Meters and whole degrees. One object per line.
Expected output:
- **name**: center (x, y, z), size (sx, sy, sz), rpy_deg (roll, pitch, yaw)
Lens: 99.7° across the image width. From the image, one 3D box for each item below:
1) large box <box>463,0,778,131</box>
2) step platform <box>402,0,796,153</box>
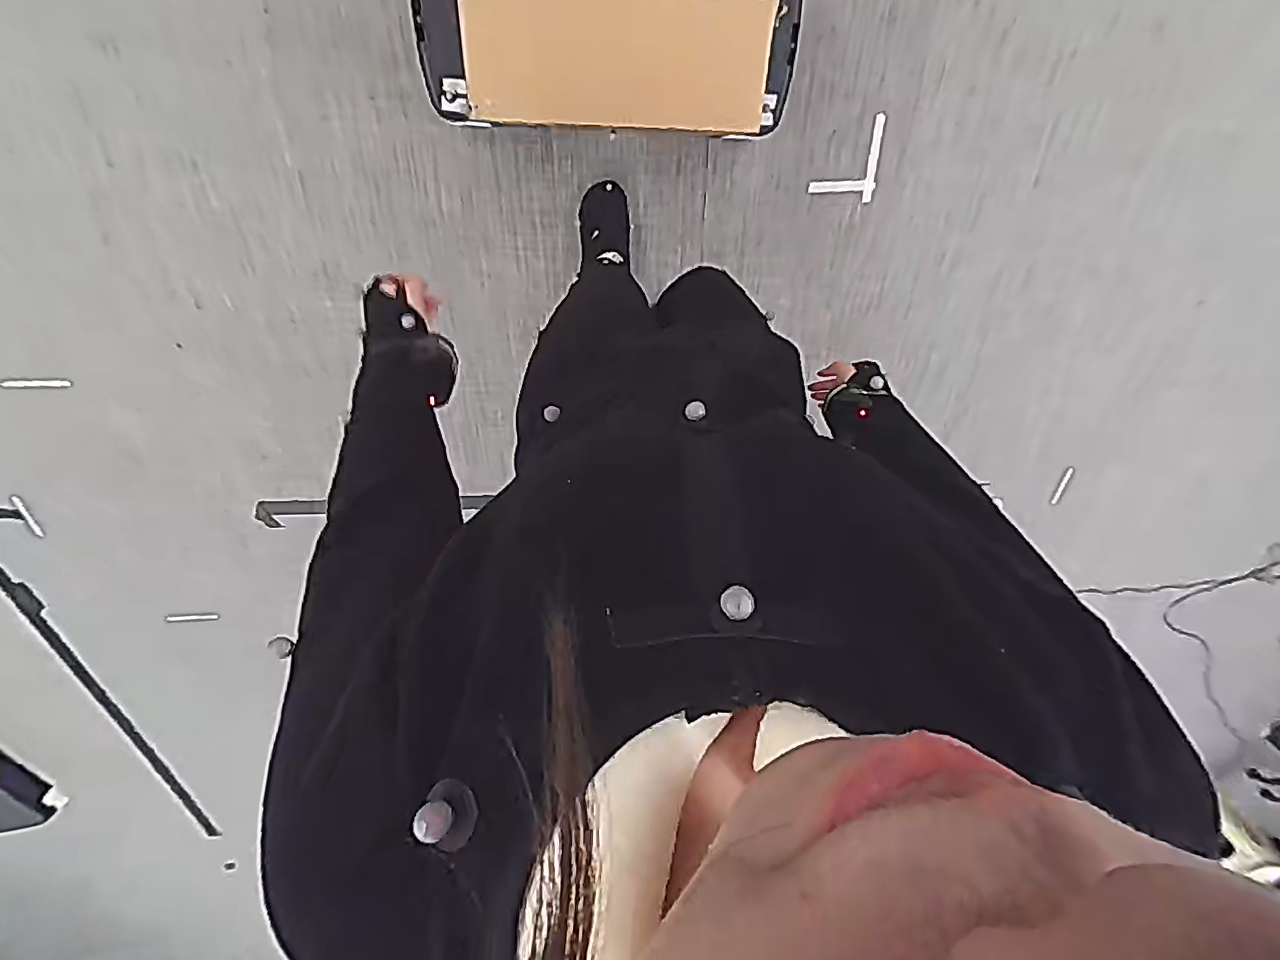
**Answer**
- **large box**: center (-0.030, -0.698, 0.786), size (0.408, 0.320, 0.320), rpy_deg (-1, 122, -5)
- **step platform**: center (-0.068, -0.810, 0.995), size (0.684, 0.204, 0.286), rpy_deg (4, 122, -7)
